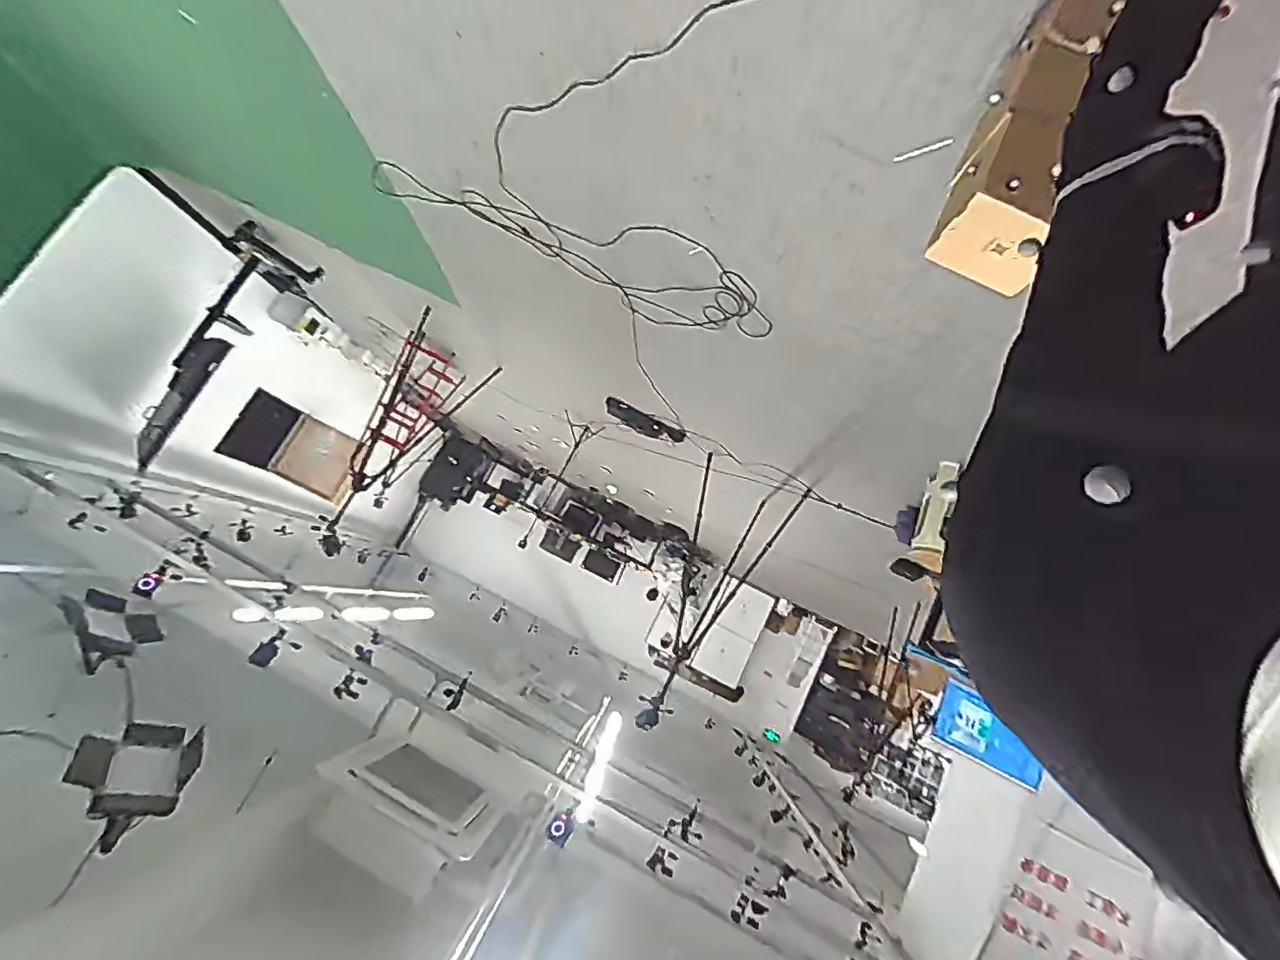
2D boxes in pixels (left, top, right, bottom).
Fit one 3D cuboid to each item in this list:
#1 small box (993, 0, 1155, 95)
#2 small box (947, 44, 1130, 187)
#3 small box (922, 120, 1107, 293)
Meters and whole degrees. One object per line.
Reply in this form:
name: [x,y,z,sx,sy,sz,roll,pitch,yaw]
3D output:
small box: [0.768,-0.749,0.973,0.168,0.176,0.179,27,169,4]
small box: [0.693,-0.604,0.947,0.179,0.176,0.168,27,169,3]
small box: [0.628,-0.459,0.915,0.179,0.176,0.168,27,169,4]
